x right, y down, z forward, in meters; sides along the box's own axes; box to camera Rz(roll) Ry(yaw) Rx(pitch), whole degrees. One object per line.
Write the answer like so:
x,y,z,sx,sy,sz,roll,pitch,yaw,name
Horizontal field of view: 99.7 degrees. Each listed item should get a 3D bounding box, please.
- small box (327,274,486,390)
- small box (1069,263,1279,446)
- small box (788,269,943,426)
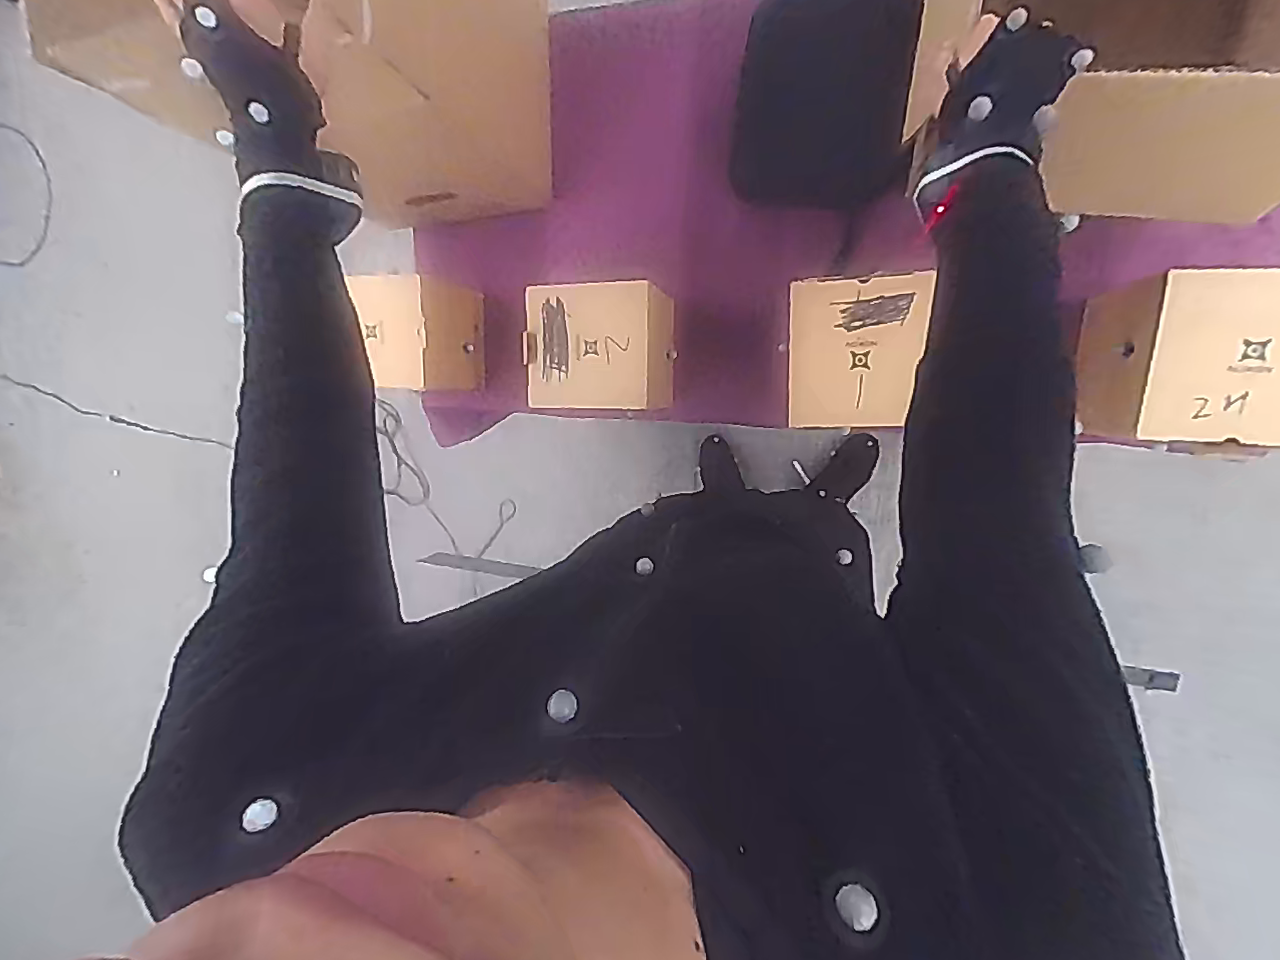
-0.375,-0.234,0.888,0.179,0.176,0.168,4,100,14,small box
0.627,-0.135,0.611,0.168,0.176,0.179,6,100,16,small box
0.281,-0.163,0.709,0.168,0.176,0.179,1,100,16,small box
